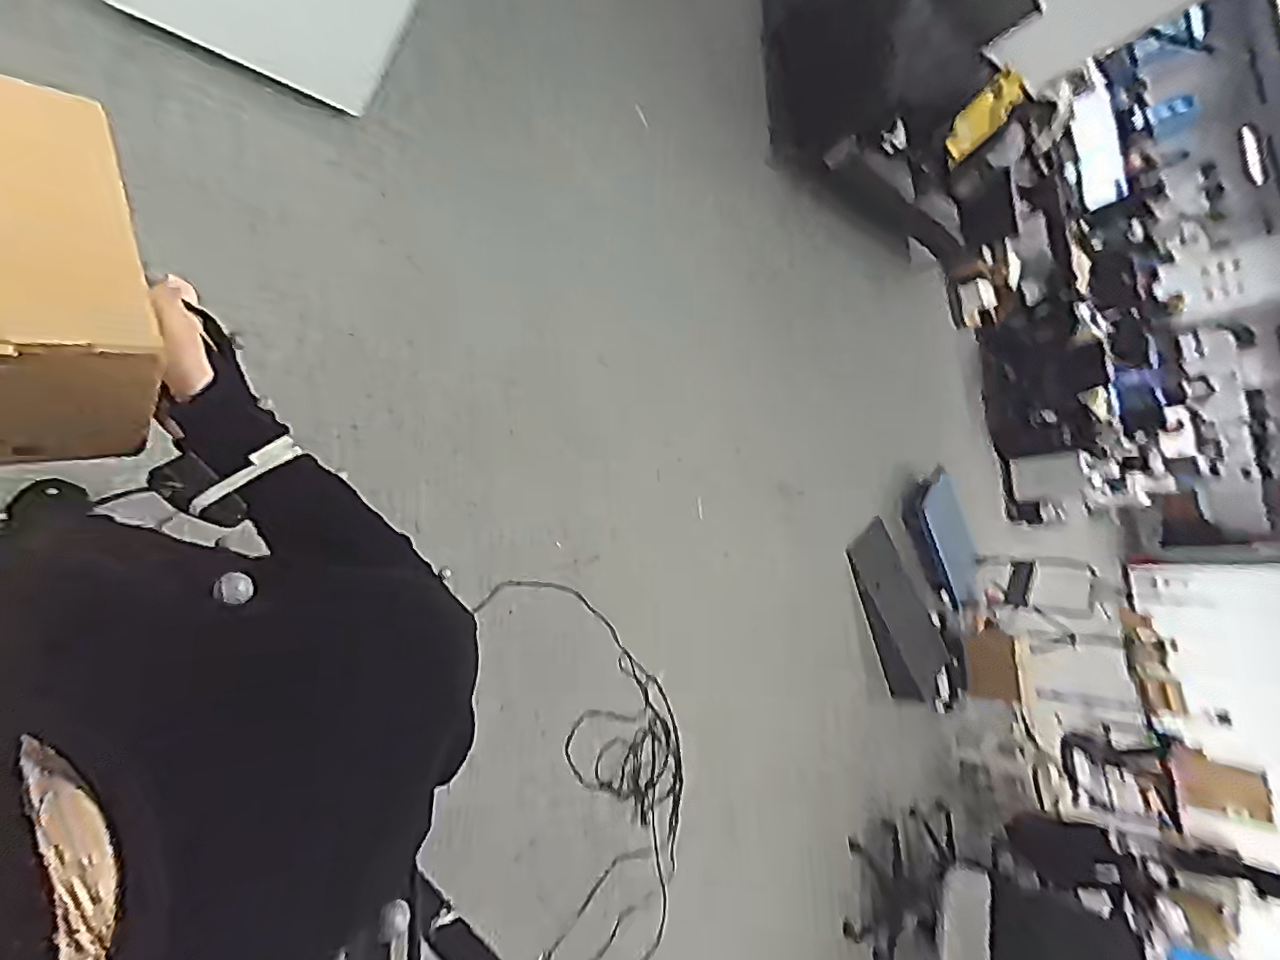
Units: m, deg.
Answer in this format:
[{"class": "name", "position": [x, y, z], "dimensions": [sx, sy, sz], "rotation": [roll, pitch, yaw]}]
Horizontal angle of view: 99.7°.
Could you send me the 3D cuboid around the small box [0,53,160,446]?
[{"class": "small box", "position": [-0.414, -0.129, 0.314], "dimensions": [0.168, 0.176, 0.179], "rotation": [-11, 79, -49]}]
